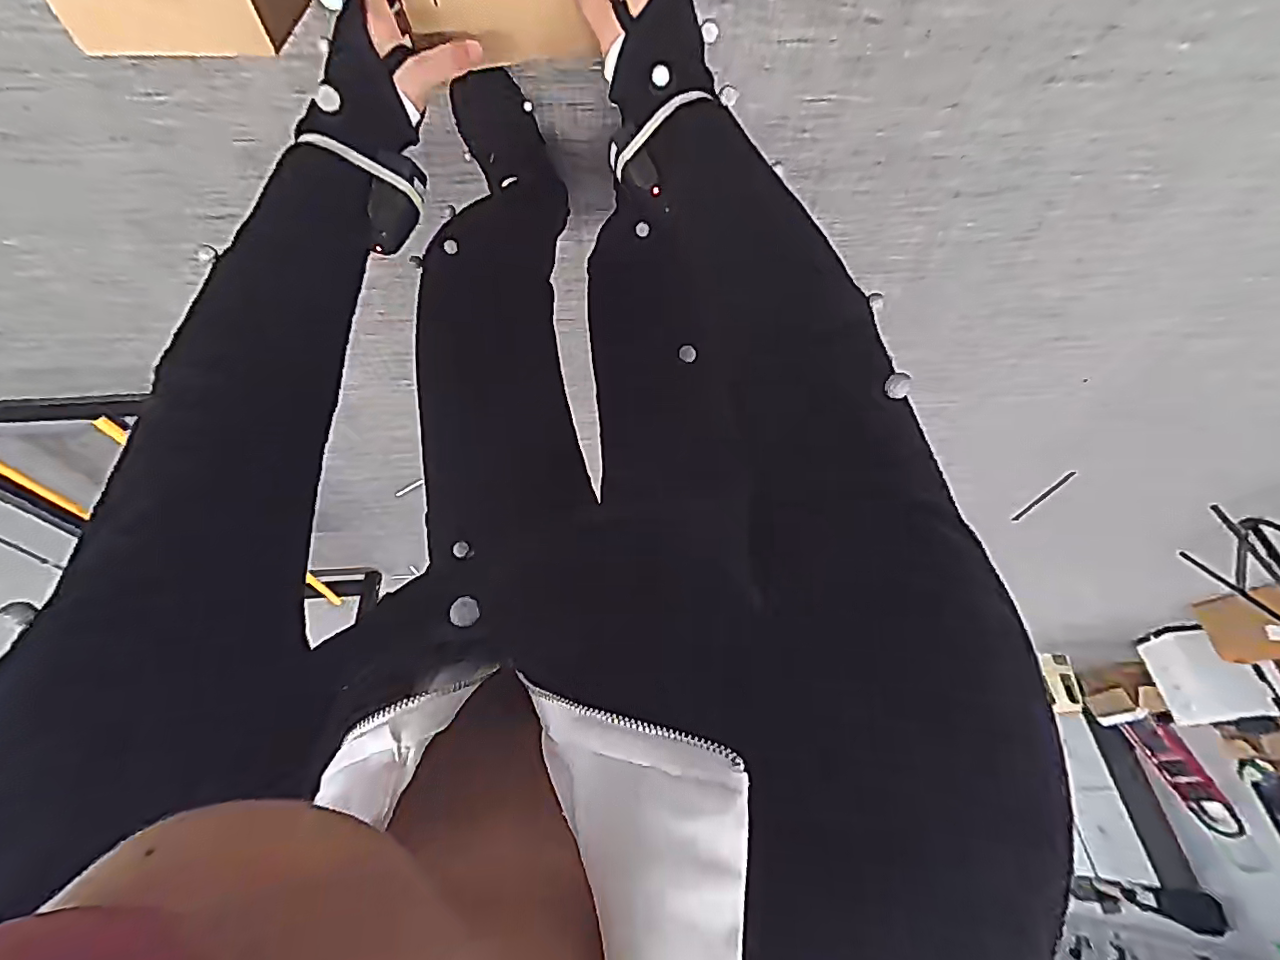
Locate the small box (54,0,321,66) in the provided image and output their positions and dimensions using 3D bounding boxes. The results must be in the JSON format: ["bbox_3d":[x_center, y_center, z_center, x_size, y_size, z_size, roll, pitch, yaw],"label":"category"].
[{"bbox_3d":[-0.401,-0.487,0.453,0.168,0.176,0.179,-1,149,-3],"label":"small box"}]

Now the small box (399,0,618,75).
[{"bbox_3d":[-0.114,-0.473,0.447,0.179,0.176,0.168,-6,150,0],"label":"small box"}]
